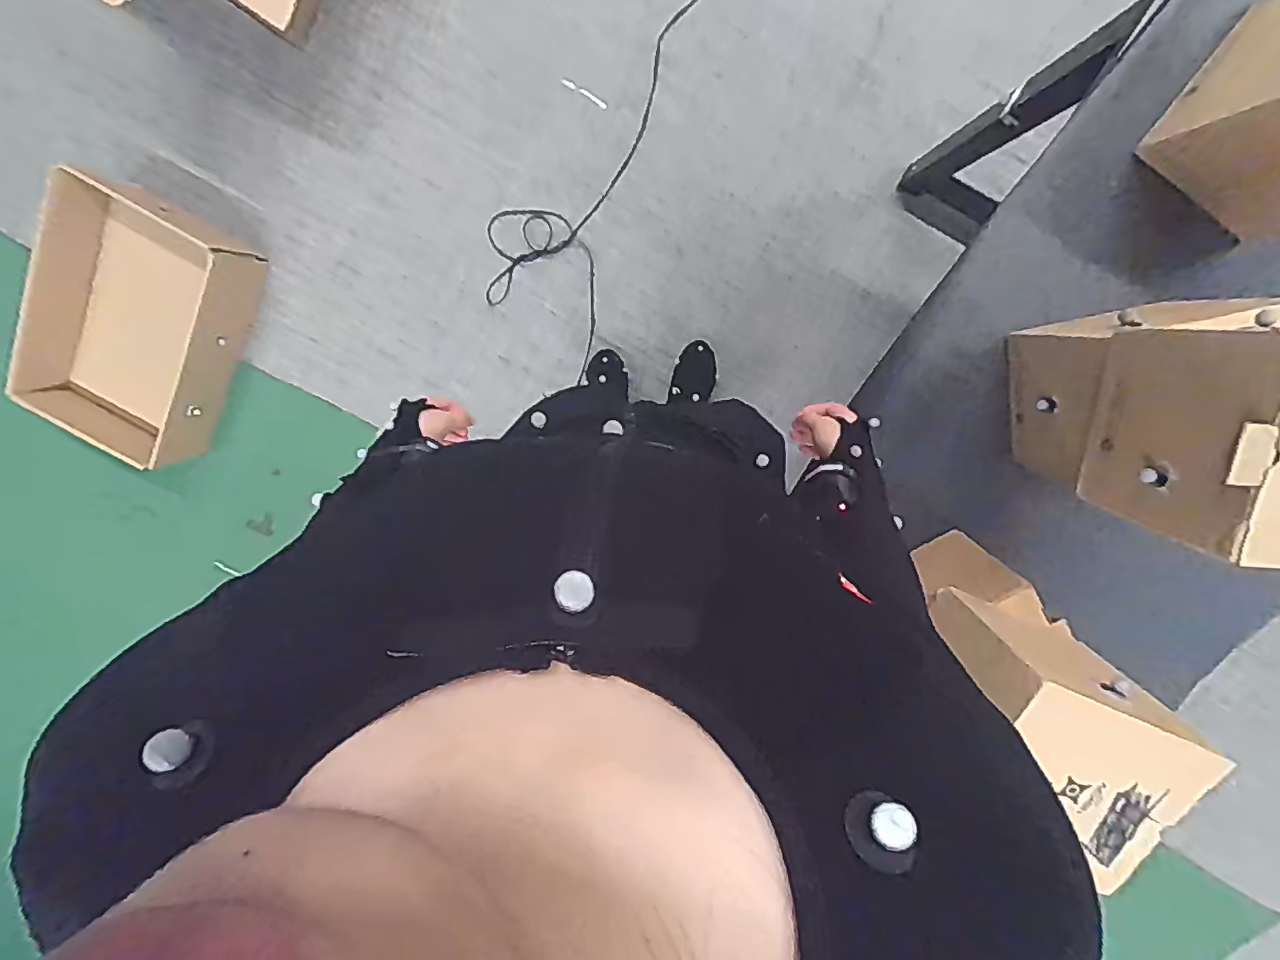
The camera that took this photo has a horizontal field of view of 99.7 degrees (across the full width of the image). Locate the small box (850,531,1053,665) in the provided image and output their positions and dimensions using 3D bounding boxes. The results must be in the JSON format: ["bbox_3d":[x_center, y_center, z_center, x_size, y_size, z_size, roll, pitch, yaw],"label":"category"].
[{"bbox_3d":[0.392,0.193,0.687,0.179,0.176,0.168,-32,101,10],"label":"small box"}]

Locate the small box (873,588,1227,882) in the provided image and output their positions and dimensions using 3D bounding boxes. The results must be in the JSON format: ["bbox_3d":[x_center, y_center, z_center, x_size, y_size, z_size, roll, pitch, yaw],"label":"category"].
[{"bbox_3d":[0.369,0.231,0.528,0.179,0.176,0.168,23,104,-3],"label":"small box"}]

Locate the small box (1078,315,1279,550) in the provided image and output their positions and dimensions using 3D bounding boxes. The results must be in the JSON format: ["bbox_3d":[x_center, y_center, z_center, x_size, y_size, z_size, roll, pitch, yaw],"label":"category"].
[{"bbox_3d":[0.516,-0.049,0.444,0.179,0.176,0.168,0,107,3],"label":"small box"}]

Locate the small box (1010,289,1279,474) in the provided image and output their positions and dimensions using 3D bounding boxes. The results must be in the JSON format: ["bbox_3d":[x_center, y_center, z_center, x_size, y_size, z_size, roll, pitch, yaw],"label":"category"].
[{"bbox_3d":[0.540,-0.103,0.597,0.179,0.176,0.168,-11,105,6],"label":"small box"}]
